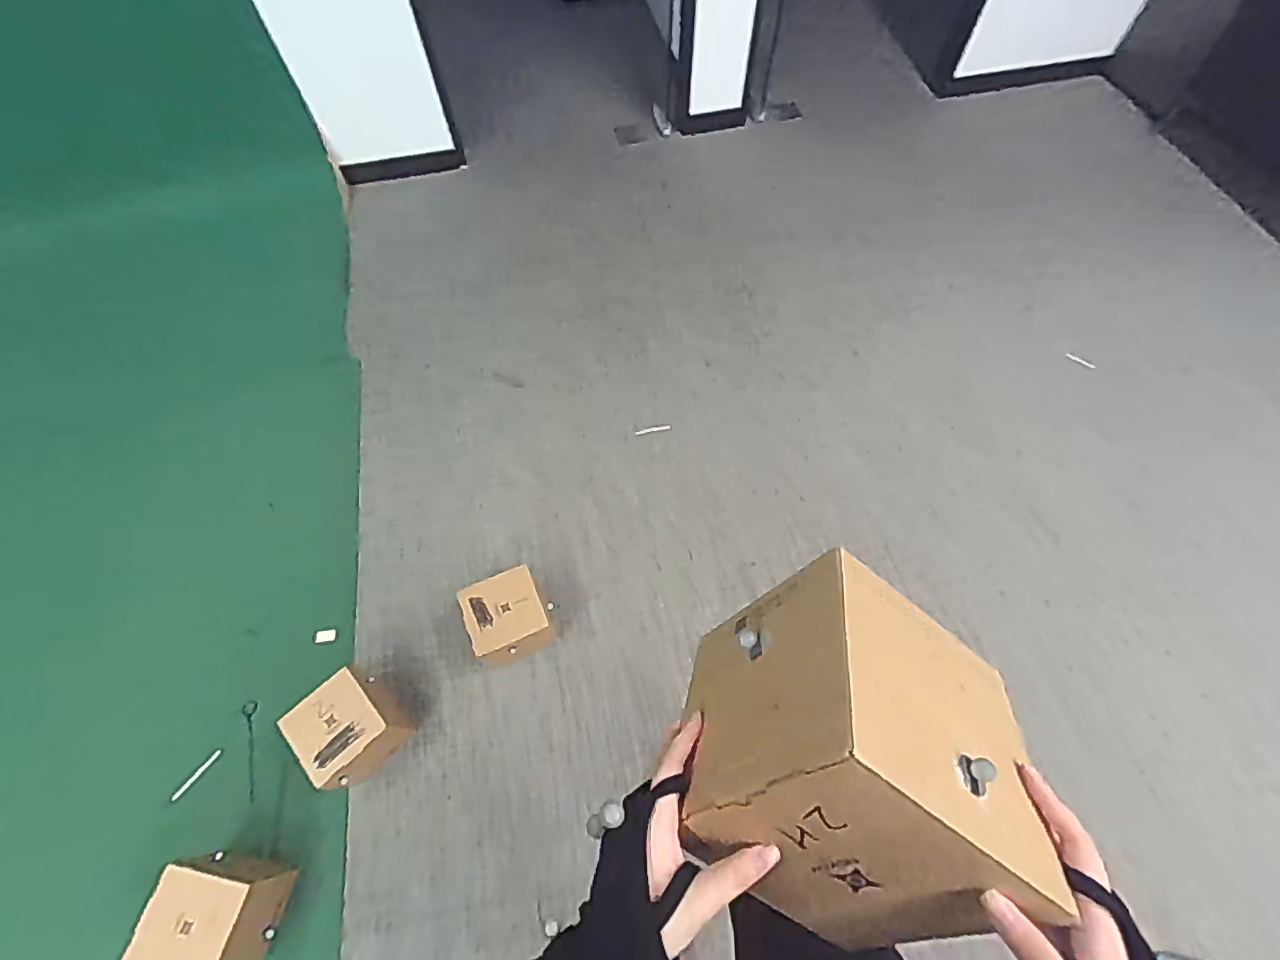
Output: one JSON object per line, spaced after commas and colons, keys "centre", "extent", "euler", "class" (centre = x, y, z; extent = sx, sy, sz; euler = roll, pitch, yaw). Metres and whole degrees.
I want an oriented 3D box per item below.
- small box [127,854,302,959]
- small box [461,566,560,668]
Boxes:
{"centre": [-0.816, 0.852, 1.056], "extent": [0.179, 0.176, 0.168], "euler": [10, 63, 6], "class": "small box"}
{"centre": [-0.309, 0.339, 1.315], "extent": [0.179, 0.176, 0.168], "euler": [-22, 64, -11], "class": "small box"}
